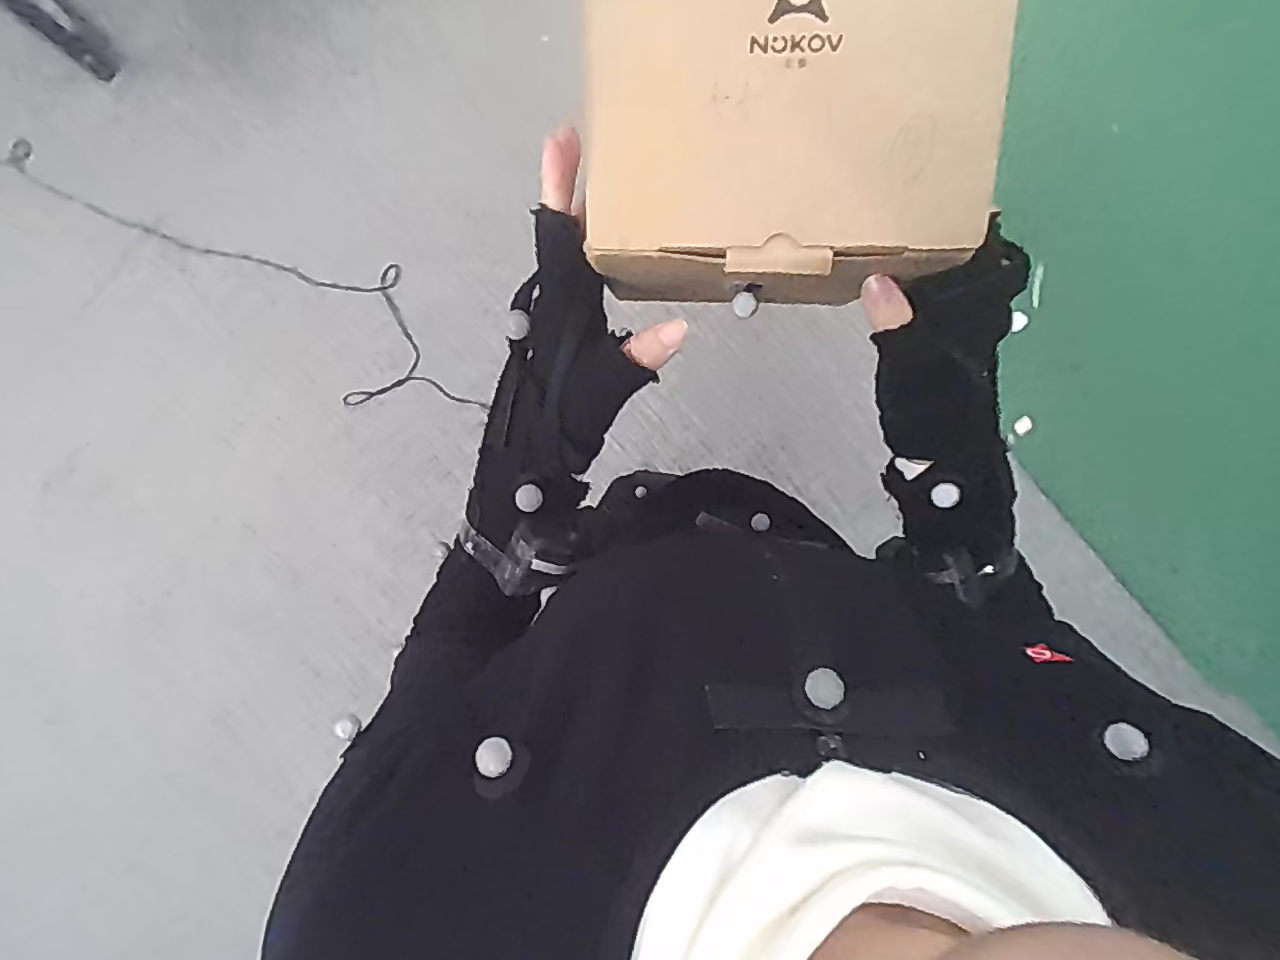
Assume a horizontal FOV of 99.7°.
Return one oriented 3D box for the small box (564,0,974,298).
[{"bbox_3d":[0.054,-0.198,0.298,0.168,0.176,0.179,1,102,2],"label":"small box"}]
